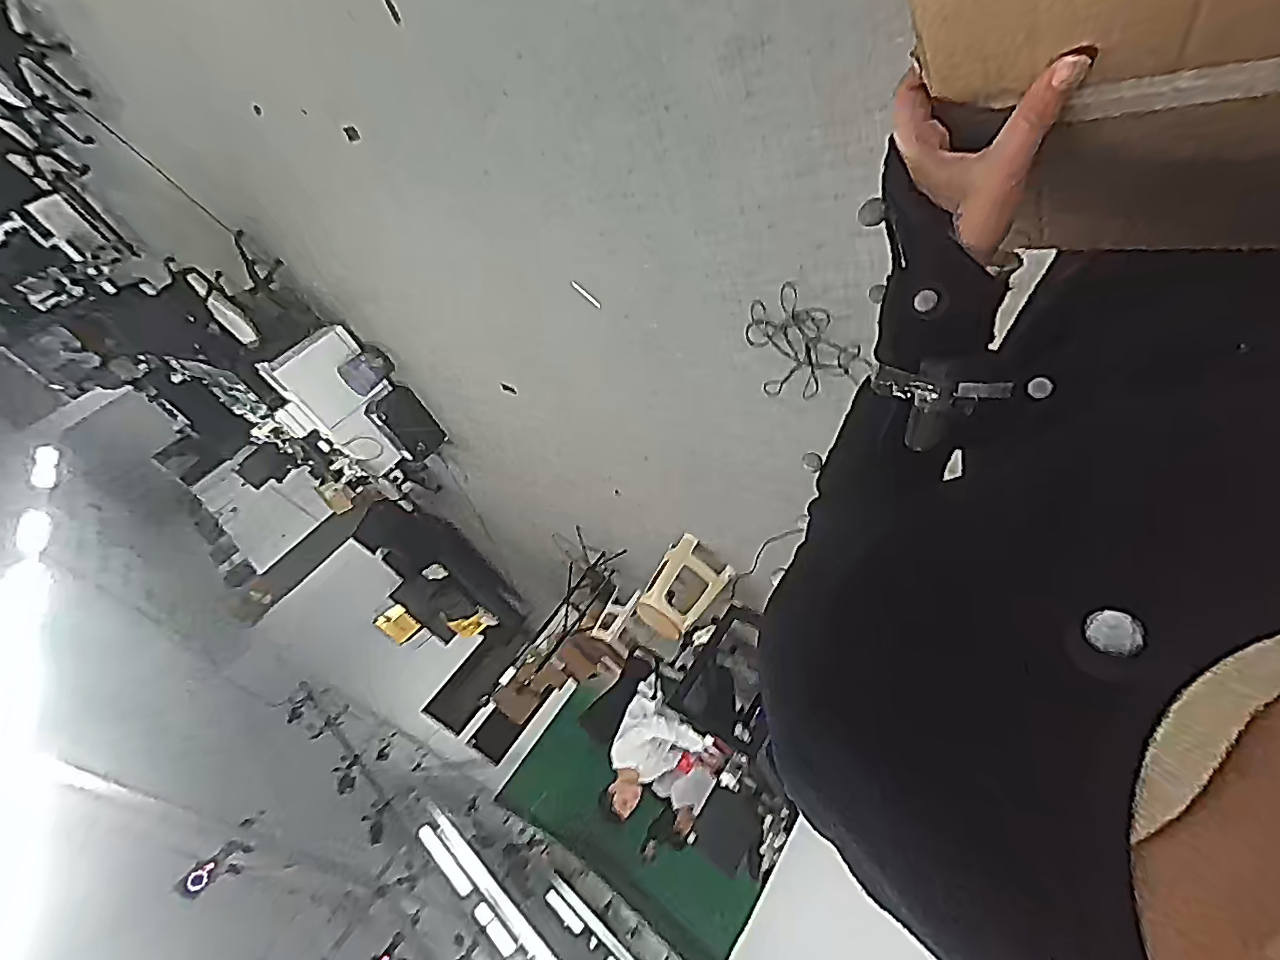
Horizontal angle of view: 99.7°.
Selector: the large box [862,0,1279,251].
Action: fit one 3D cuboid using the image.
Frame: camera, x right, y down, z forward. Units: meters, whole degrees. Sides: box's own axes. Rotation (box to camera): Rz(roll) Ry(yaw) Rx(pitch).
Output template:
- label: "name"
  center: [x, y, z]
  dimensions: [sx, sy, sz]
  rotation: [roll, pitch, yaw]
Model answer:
- label: "large box"
  center: [0.339, -0.303, 0.181]
  dimensions: [0.408, 0.320, 0.320]
  rotation: [17, -176, 39]
